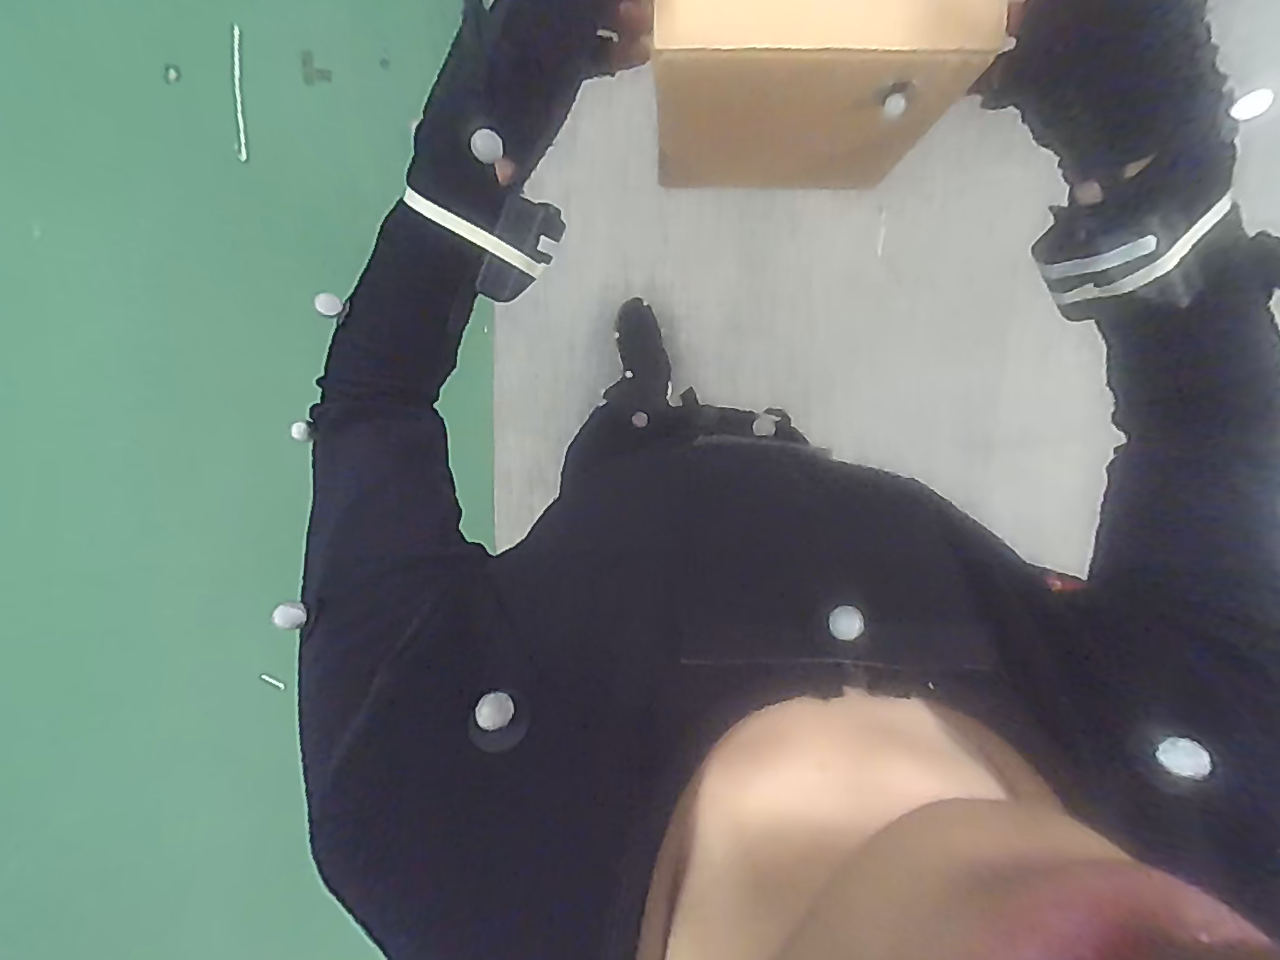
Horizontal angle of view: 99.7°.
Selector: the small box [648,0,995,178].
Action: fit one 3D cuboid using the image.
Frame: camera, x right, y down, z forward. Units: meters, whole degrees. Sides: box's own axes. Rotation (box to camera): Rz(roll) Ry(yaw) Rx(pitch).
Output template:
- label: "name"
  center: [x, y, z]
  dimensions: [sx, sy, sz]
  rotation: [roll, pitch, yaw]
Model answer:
- label: "small box"
  center: [0.096, -0.314, 0.347]
  dimensions: [0.179, 0.176, 0.168]
  rotation: [1, 97, 1]
